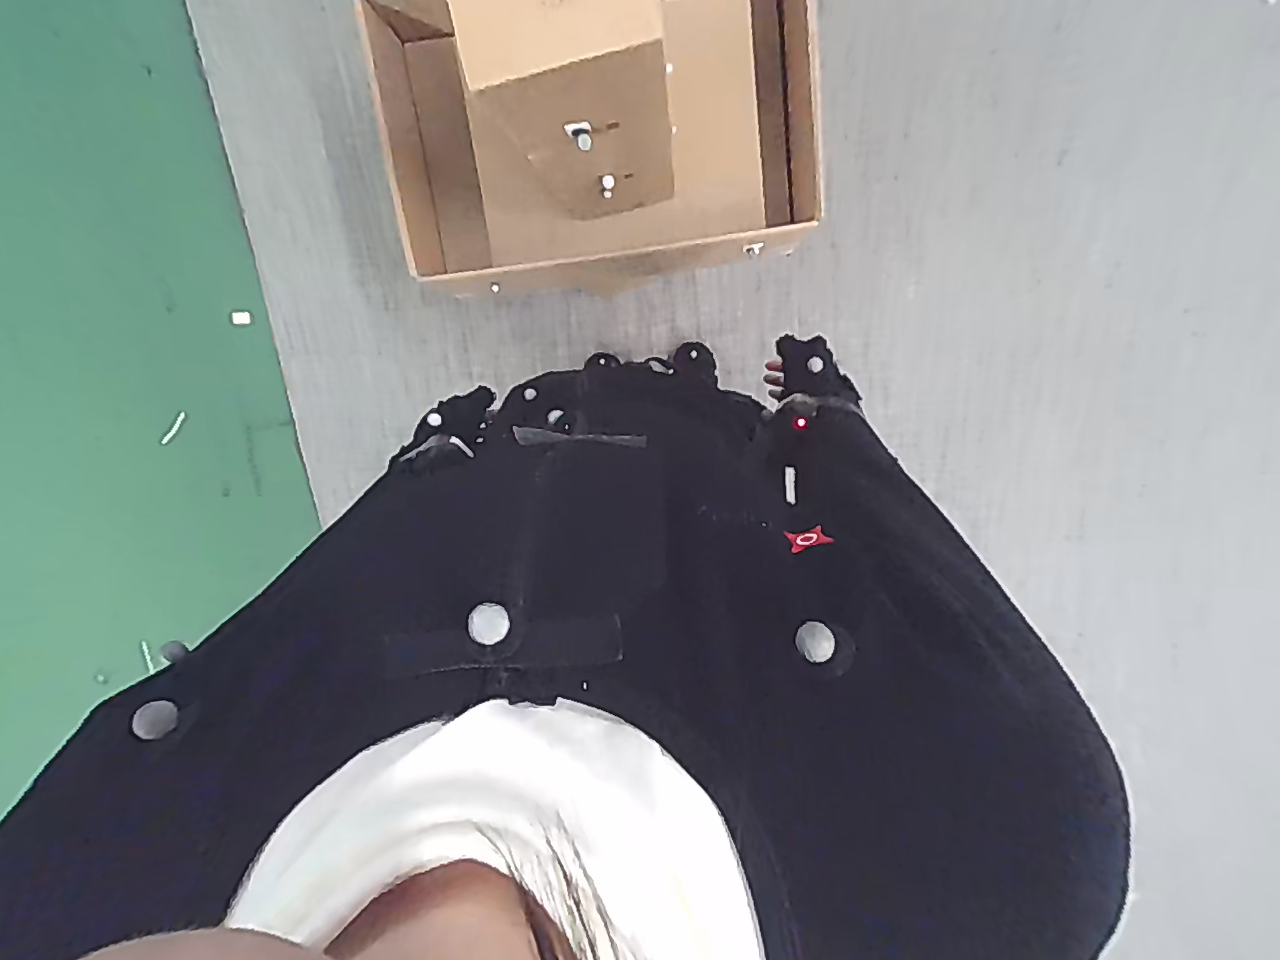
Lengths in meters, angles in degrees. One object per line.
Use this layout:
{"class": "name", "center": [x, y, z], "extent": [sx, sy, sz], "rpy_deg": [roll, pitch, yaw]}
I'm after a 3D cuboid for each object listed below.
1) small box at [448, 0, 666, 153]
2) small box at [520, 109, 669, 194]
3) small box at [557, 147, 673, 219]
{"class": "small box", "center": [-0.072, -0.438, 0.496], "extent": [0.168, 0.176, 0.179], "rpy_deg": [-10, 103, 8]}
{"class": "small box", "center": [-0.060, -0.476, 0.652], "extent": [0.168, 0.176, 0.179], "rpy_deg": [-10, 103, 7]}
{"class": "small box", "center": [-0.046, -0.519, 0.809], "extent": [0.168, 0.176, 0.179], "rpy_deg": [-10, 102, 8]}
